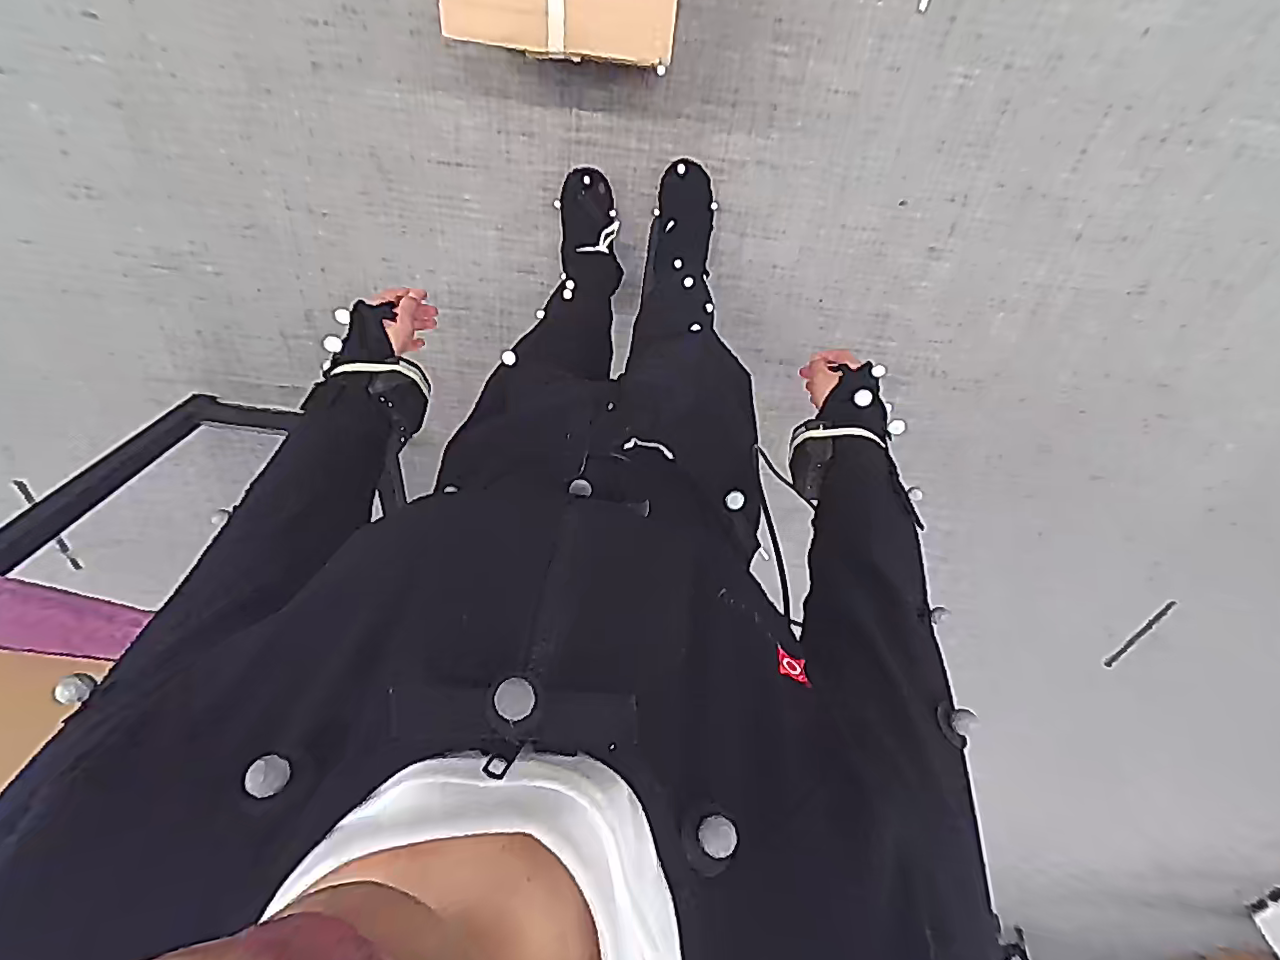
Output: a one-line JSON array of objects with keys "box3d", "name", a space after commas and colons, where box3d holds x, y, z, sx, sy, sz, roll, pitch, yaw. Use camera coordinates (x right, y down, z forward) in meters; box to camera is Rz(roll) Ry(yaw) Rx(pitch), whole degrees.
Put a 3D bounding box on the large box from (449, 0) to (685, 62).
[{"box3d": [-0.079, -0.830, 0.723, 0.320, 0.320, 0.408, 6, 129, -1], "name": "large box"}]
